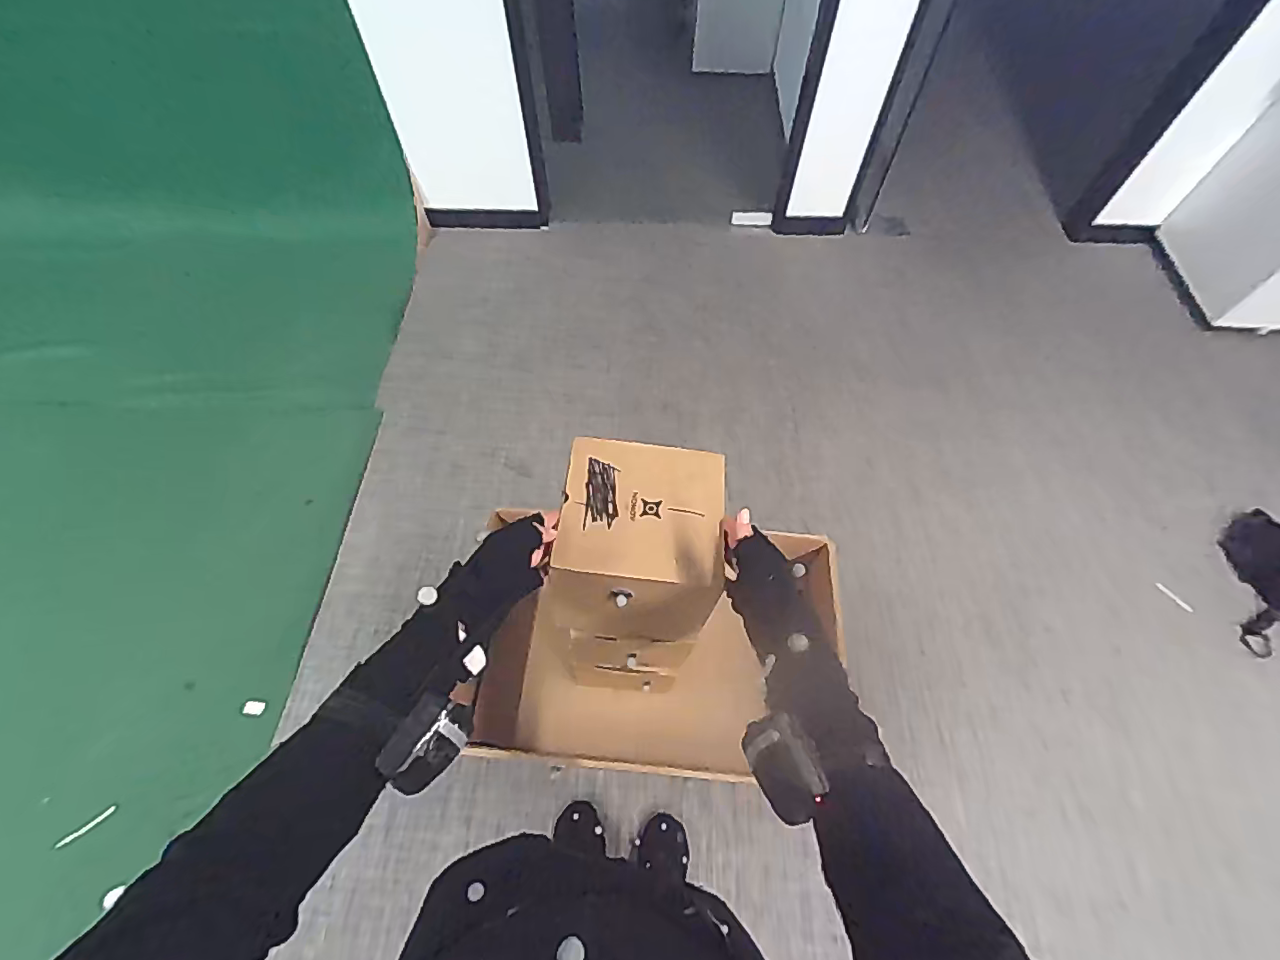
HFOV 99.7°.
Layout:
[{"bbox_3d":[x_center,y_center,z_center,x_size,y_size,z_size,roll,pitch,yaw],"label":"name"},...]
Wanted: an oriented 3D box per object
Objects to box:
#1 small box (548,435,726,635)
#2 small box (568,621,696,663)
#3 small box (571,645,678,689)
[{"bbox_3d":[-0.003,0.071,0.632,0.179,0.176,0.168,8,56,-2],"label":"small box"},{"bbox_3d":[-0.009,0.163,0.787,0.168,0.176,0.179,4,61,-2],"label":"small box"},{"bbox_3d":[-0.019,0.250,0.925,0.168,0.176,0.179,6,58,0],"label":"small box"}]
